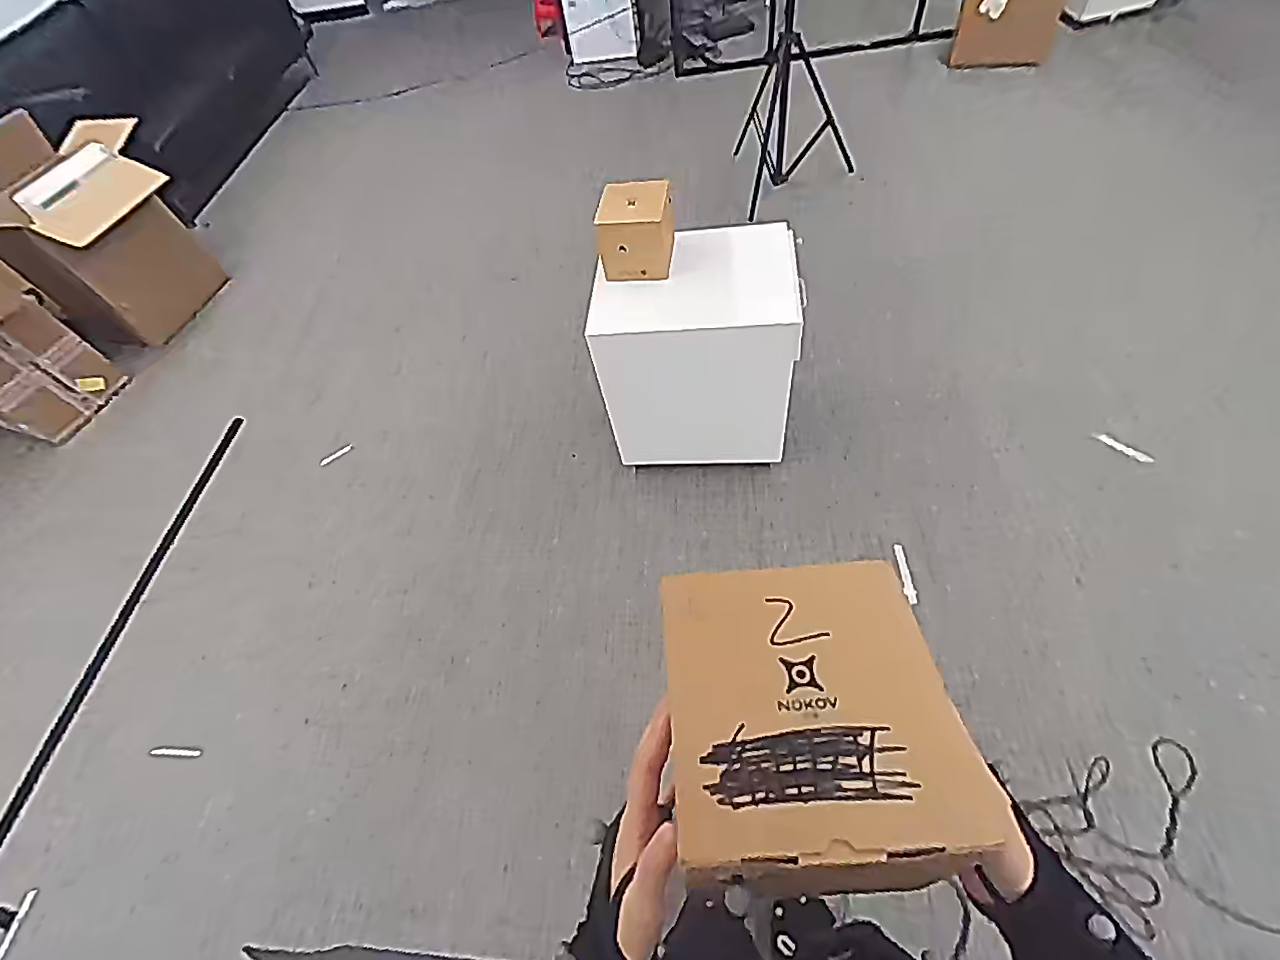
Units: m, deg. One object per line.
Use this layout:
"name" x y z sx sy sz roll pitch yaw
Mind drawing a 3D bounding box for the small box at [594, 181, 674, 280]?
"small box" -0.007 -0.627 1.376 0.168 0.176 0.179 2 57 11
